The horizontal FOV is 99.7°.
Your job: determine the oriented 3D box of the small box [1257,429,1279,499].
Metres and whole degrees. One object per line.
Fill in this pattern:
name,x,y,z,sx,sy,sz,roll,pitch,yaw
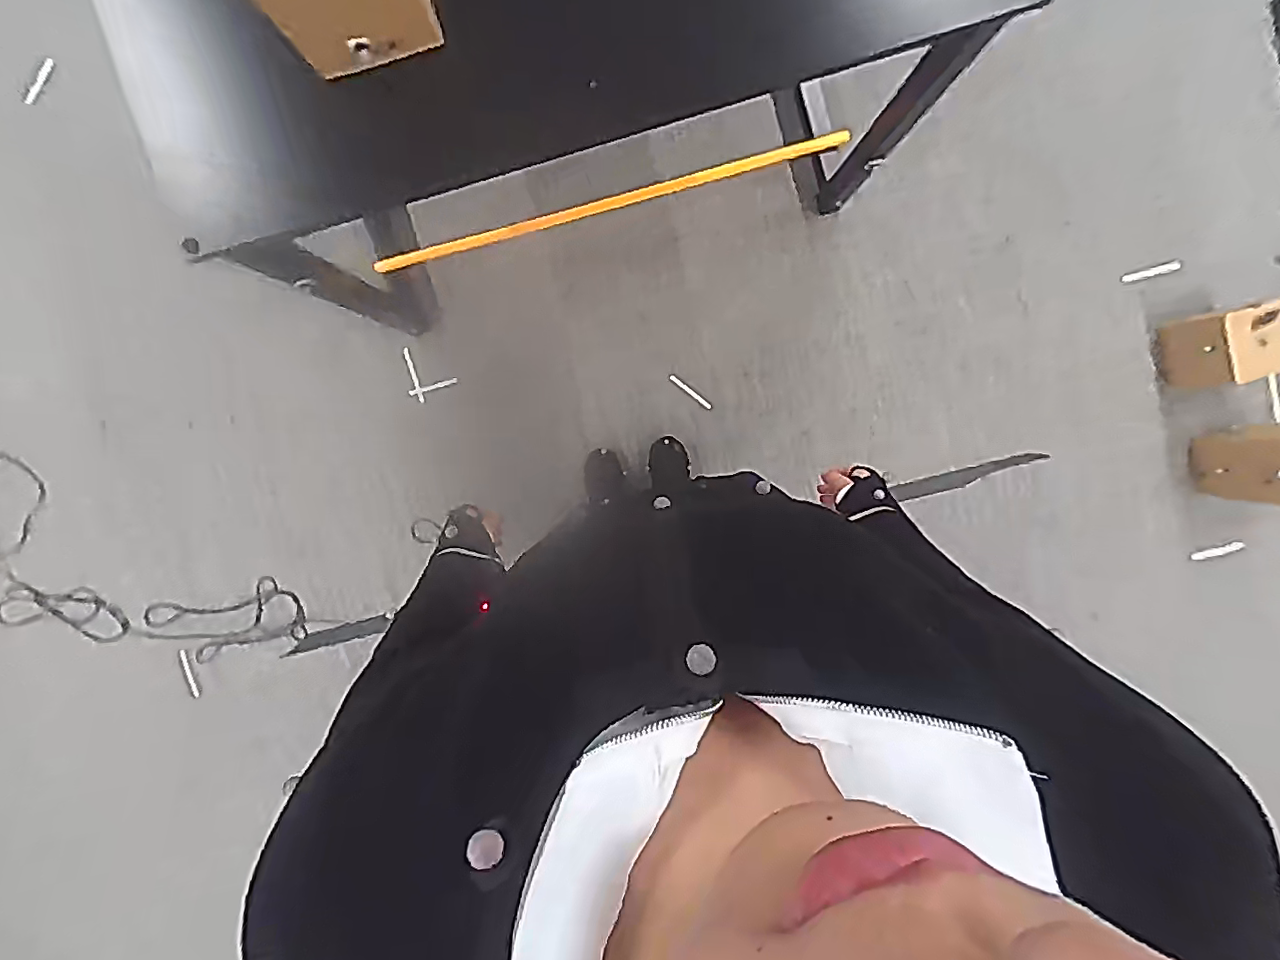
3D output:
small box,1.605,-0.046,1.244,0.179,0.176,0.168,-14,95,2

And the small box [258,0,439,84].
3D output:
small box,-0.364,-0.622,0.631,0.168,0.176,0.179,-18,96,3

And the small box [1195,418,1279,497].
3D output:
small box,1.613,-0.061,1.410,0.179,0.176,0.168,-16,95,2

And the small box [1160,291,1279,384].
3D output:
small box,1.492,-0.356,1.380,0.168,0.176,0.179,-17,96,2
